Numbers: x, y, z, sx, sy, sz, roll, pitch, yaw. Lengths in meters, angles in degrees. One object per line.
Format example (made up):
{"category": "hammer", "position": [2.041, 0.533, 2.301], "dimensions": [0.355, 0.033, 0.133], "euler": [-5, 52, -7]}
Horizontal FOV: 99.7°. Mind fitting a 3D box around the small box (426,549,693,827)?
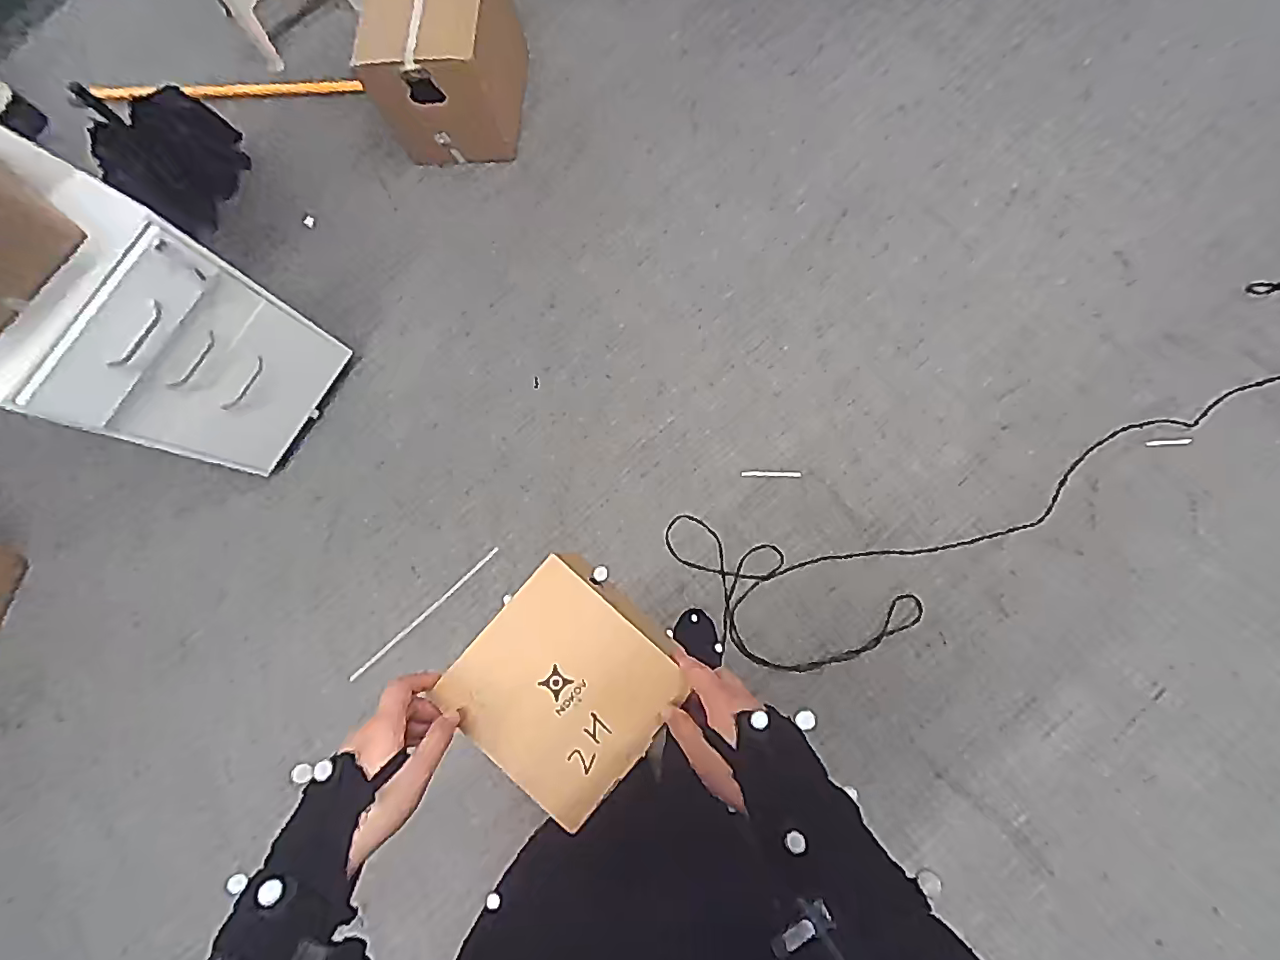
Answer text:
{"category": "small box", "position": [-0.070, 0.188, 0.546], "dimensions": [0.179, 0.176, 0.168], "euler": [41, 85, 5]}
